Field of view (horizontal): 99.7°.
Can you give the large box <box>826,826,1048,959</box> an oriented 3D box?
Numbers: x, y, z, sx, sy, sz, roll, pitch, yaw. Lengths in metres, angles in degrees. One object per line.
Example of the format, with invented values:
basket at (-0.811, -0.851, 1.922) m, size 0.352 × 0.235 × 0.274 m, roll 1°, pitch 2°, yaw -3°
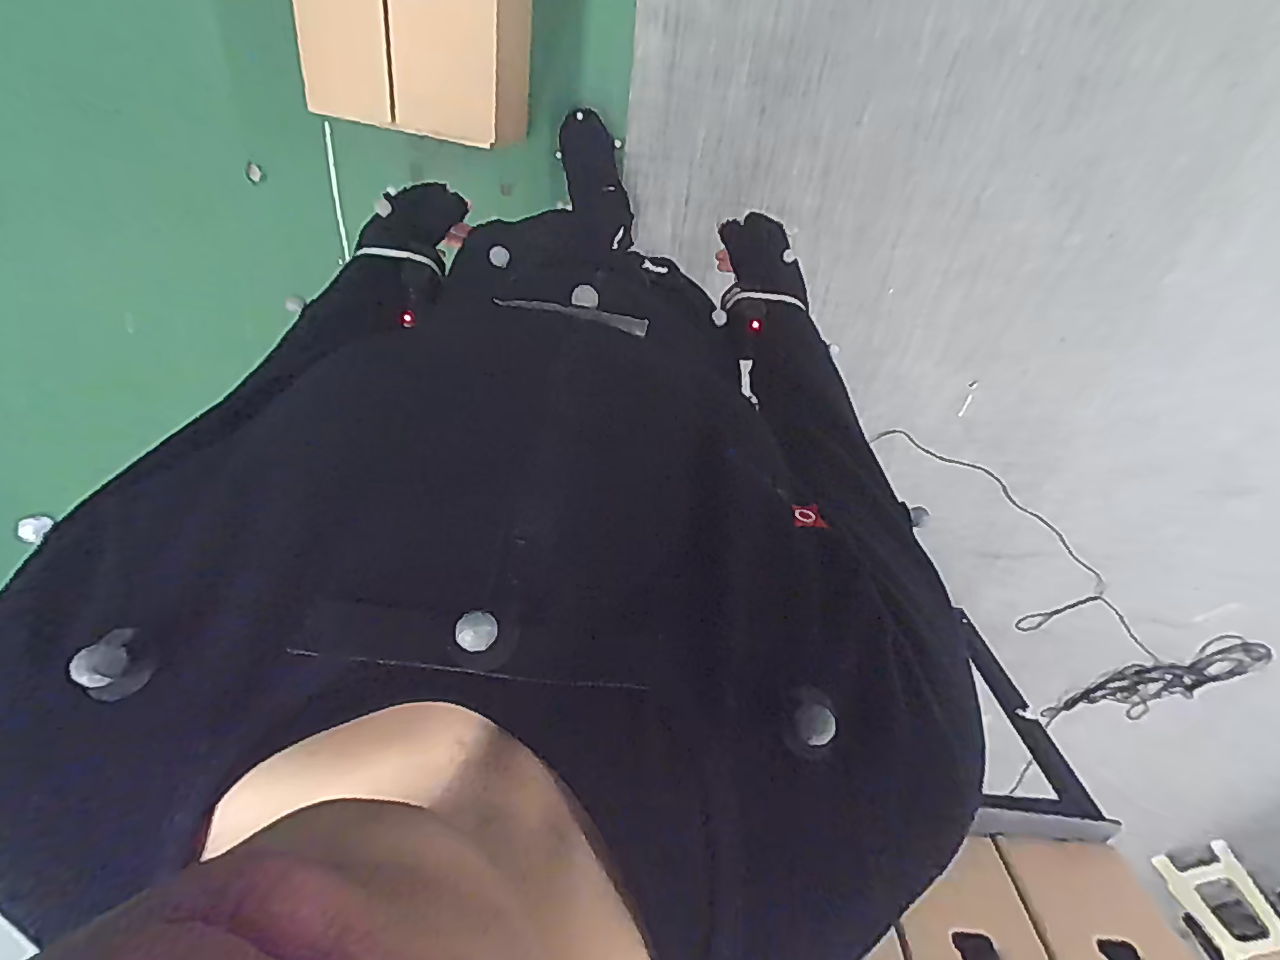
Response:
large box at (0.676, 1.093, 1.284) m, size 0.320 × 0.320 × 0.408 m, roll 5°, pitch 121°, yaw -3°
